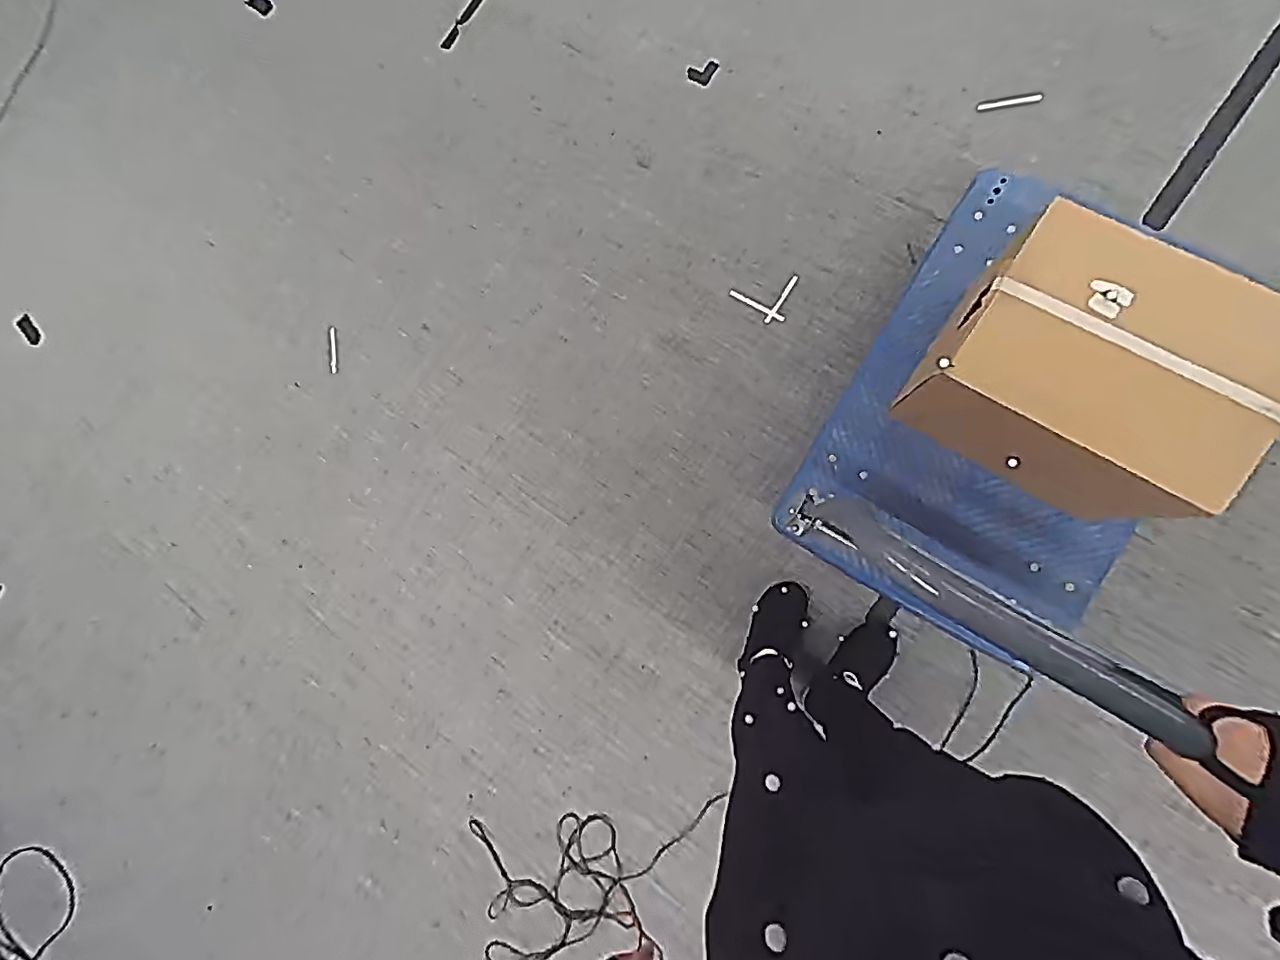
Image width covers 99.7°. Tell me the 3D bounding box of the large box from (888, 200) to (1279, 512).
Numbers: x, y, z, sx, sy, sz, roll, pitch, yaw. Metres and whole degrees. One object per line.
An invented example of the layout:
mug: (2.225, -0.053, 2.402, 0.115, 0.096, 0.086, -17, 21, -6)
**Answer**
large box: (0.714, -0.177, 0.911, 0.408, 0.320, 0.320, 32, 90, 13)
